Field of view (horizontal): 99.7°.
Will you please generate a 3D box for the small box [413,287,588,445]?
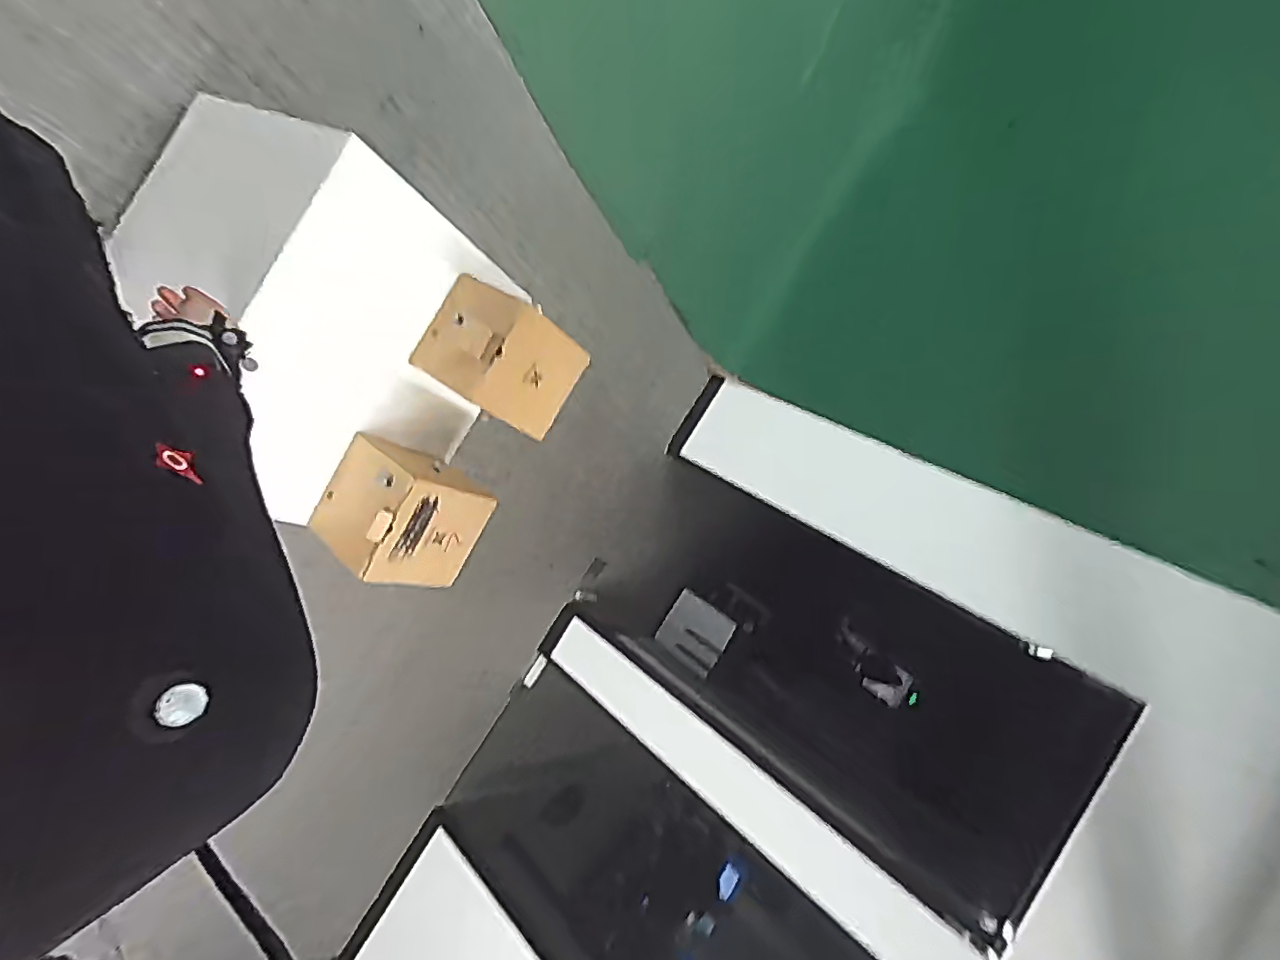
[{"bbox_3d":[-0.224,-0.185,0.877,0.168,0.176,0.179,-58,149,0],"label":"small box"}]
